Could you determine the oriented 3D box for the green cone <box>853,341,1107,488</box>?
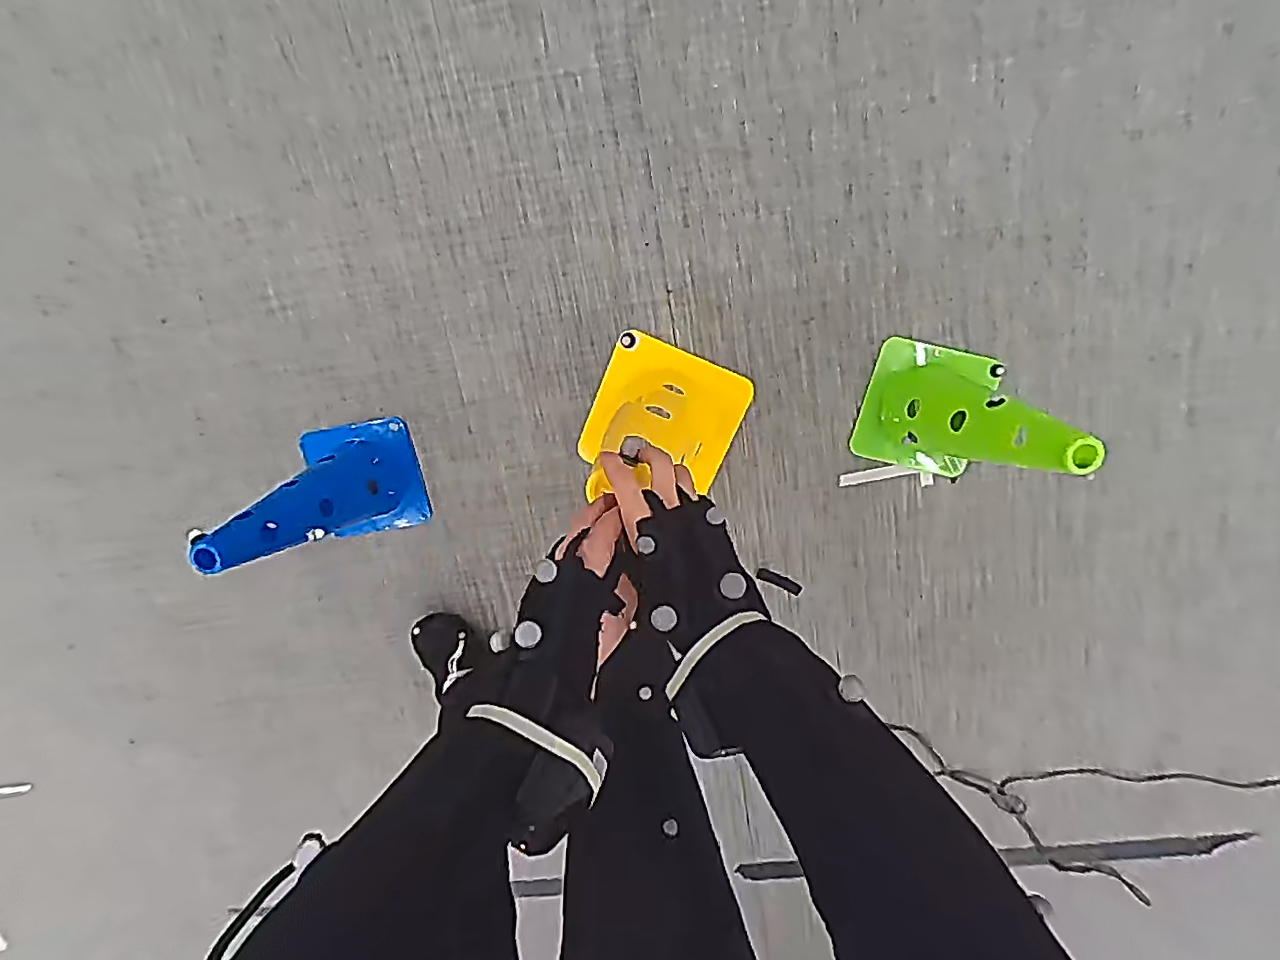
[{"bbox_3d":[0.460,-0.065,0.718,0.200,0.368,0.202,12,106,0],"label":"green cone"}]
